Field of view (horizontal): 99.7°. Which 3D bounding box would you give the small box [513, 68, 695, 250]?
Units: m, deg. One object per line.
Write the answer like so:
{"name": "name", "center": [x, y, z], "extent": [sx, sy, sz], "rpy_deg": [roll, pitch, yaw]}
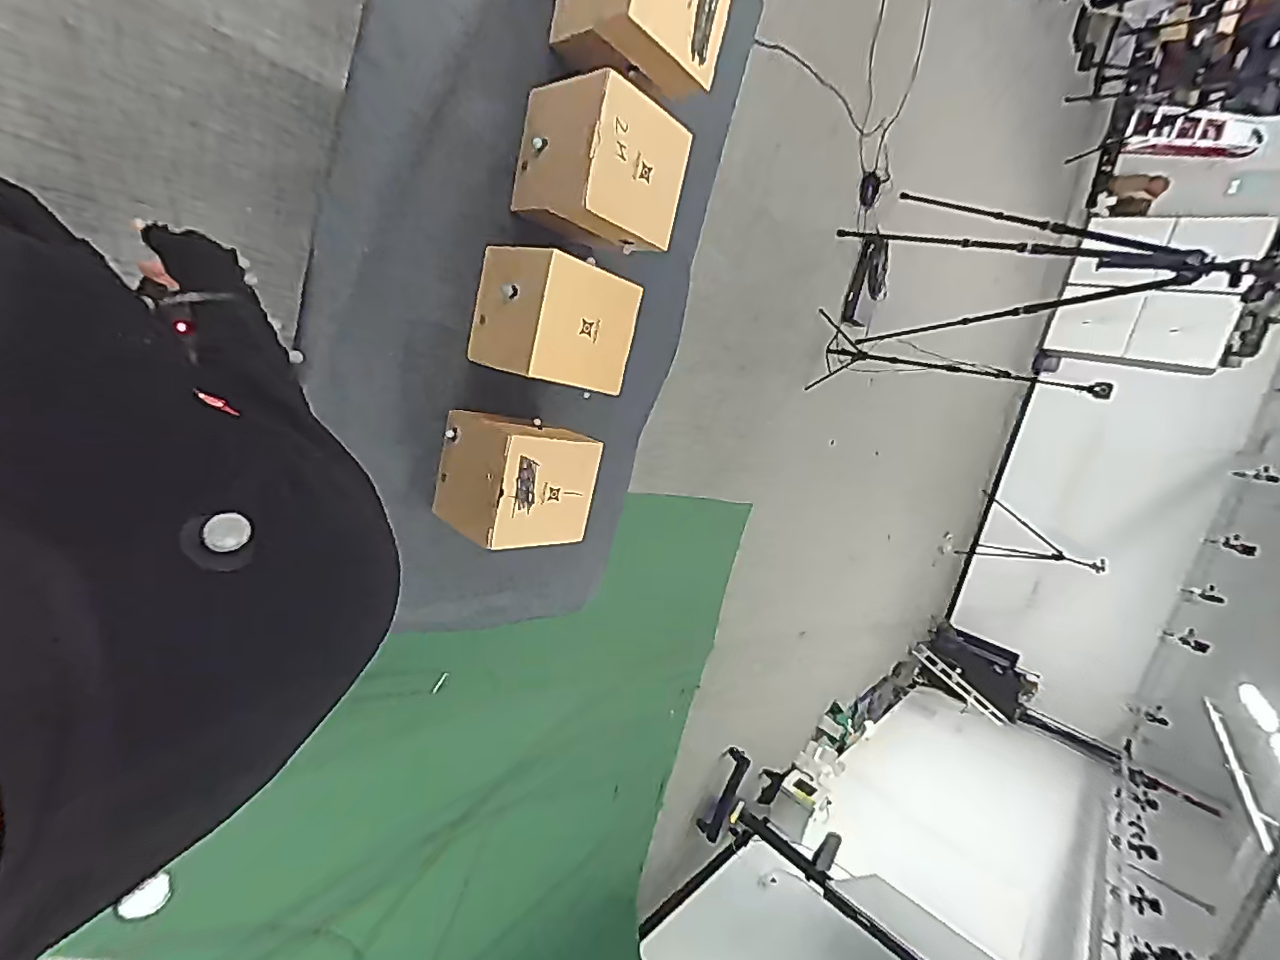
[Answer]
{"name": "small box", "center": [-0.054, -0.448, 0.782], "extent": [0.179, 0.176, 0.168], "rpy_deg": [1, 107, -49]}

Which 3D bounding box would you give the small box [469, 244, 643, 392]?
{"name": "small box", "center": [-0.128, -0.237, 0.802], "extent": [0.179, 0.176, 0.168], "rpy_deg": [2, 106, -49]}

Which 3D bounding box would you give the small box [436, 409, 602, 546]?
{"name": "small box", "center": [-0.191, -0.008, 0.837], "extent": [0.179, 0.176, 0.168], "rpy_deg": [1, 107, -50]}
